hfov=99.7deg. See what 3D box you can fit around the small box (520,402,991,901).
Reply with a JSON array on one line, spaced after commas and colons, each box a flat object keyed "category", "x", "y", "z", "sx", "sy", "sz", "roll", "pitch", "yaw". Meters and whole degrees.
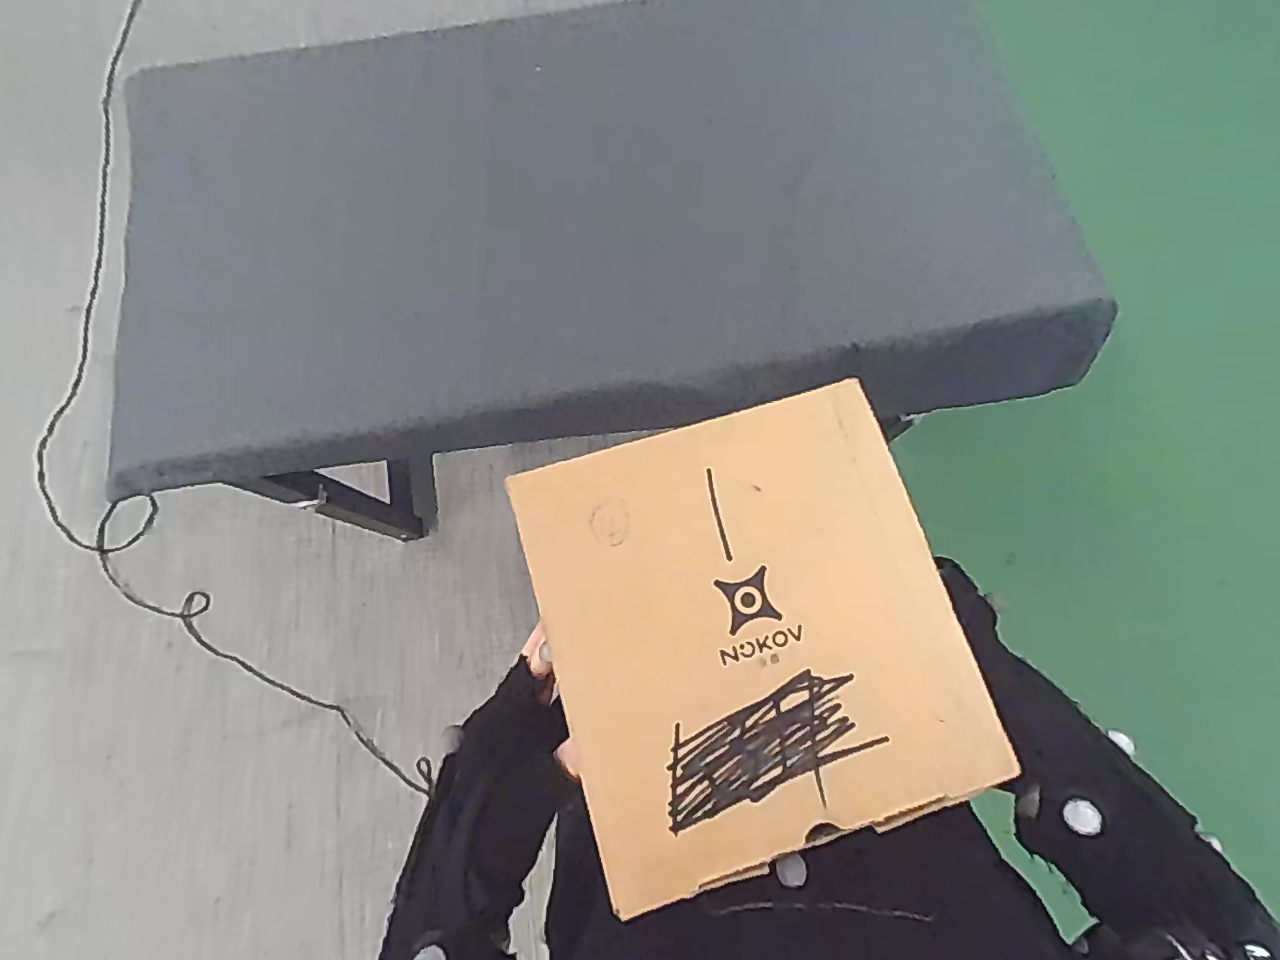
[{"category": "small box", "x": 0.044, "y": 0.079, "z": 0.310, "sx": 0.168, "sy": 0.176, "sz": 0.179, "roll": -15, "pitch": 79, "yaw": -5}]
